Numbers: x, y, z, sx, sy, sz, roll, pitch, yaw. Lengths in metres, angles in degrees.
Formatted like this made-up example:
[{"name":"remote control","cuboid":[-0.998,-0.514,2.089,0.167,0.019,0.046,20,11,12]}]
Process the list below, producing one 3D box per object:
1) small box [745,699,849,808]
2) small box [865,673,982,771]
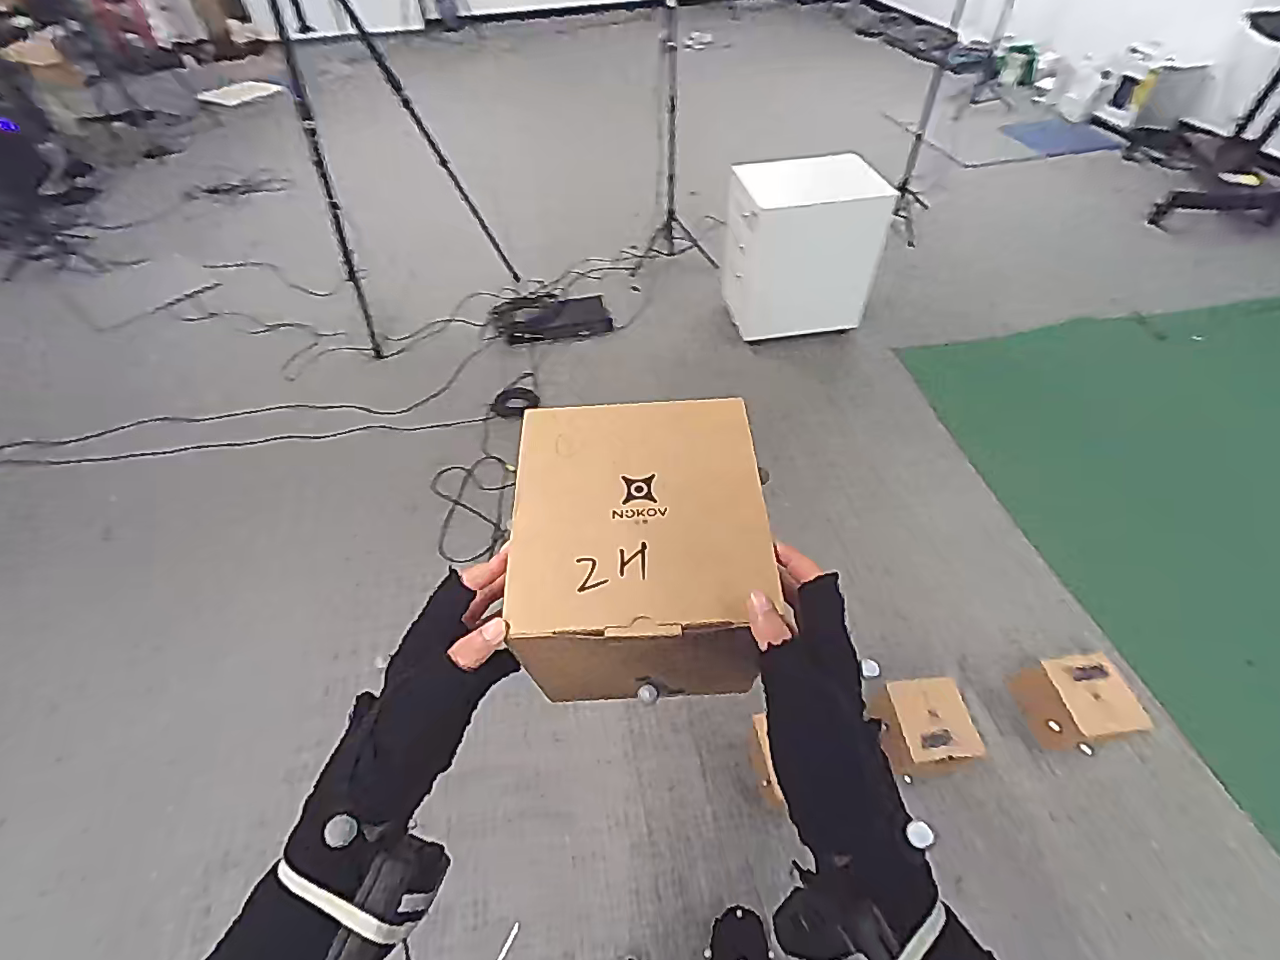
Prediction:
[{"name":"small box","cuboid":[0.351,0.634,1.250,0.168,0.176,0.179,-10,51,-5]},{"name":"small box","cuboid":[0.659,0.578,1.281,0.168,0.176,0.179,-4,50,-2]}]
